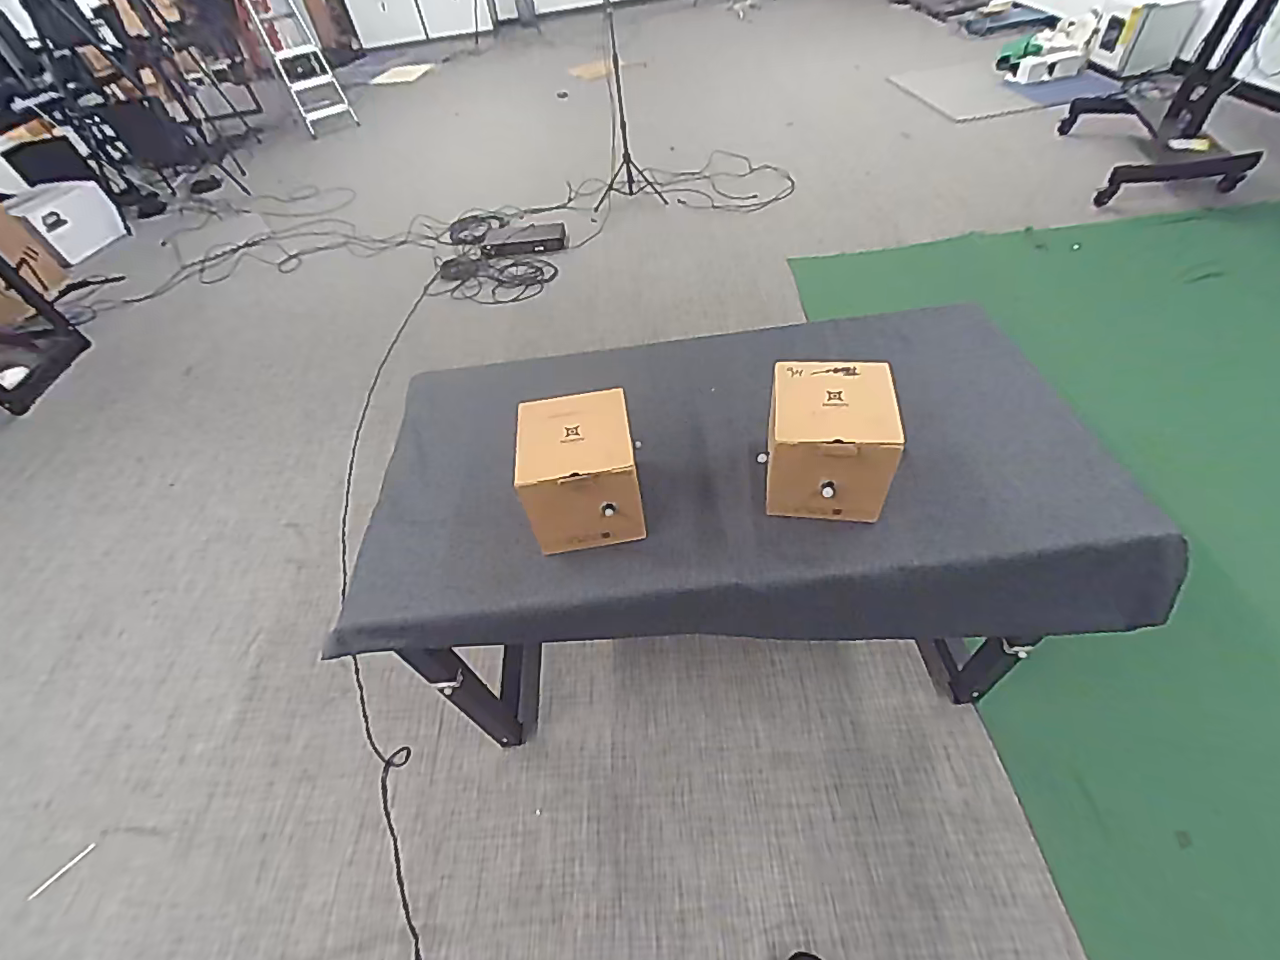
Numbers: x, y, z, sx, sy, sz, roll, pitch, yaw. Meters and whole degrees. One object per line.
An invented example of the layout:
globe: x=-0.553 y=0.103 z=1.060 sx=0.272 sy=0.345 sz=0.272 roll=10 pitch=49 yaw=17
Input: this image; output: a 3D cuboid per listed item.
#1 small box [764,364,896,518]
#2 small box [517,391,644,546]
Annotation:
small box: x=0.282 y=-0.058 z=0.835 sx=0.168 sy=0.176 sz=0.179 roll=3 pitch=50 yaw=11
small box: x=-0.090 y=-0.012 z=0.849 sx=0.168 sy=0.176 sz=0.179 roll=-9 pitch=46 yaw=-2
